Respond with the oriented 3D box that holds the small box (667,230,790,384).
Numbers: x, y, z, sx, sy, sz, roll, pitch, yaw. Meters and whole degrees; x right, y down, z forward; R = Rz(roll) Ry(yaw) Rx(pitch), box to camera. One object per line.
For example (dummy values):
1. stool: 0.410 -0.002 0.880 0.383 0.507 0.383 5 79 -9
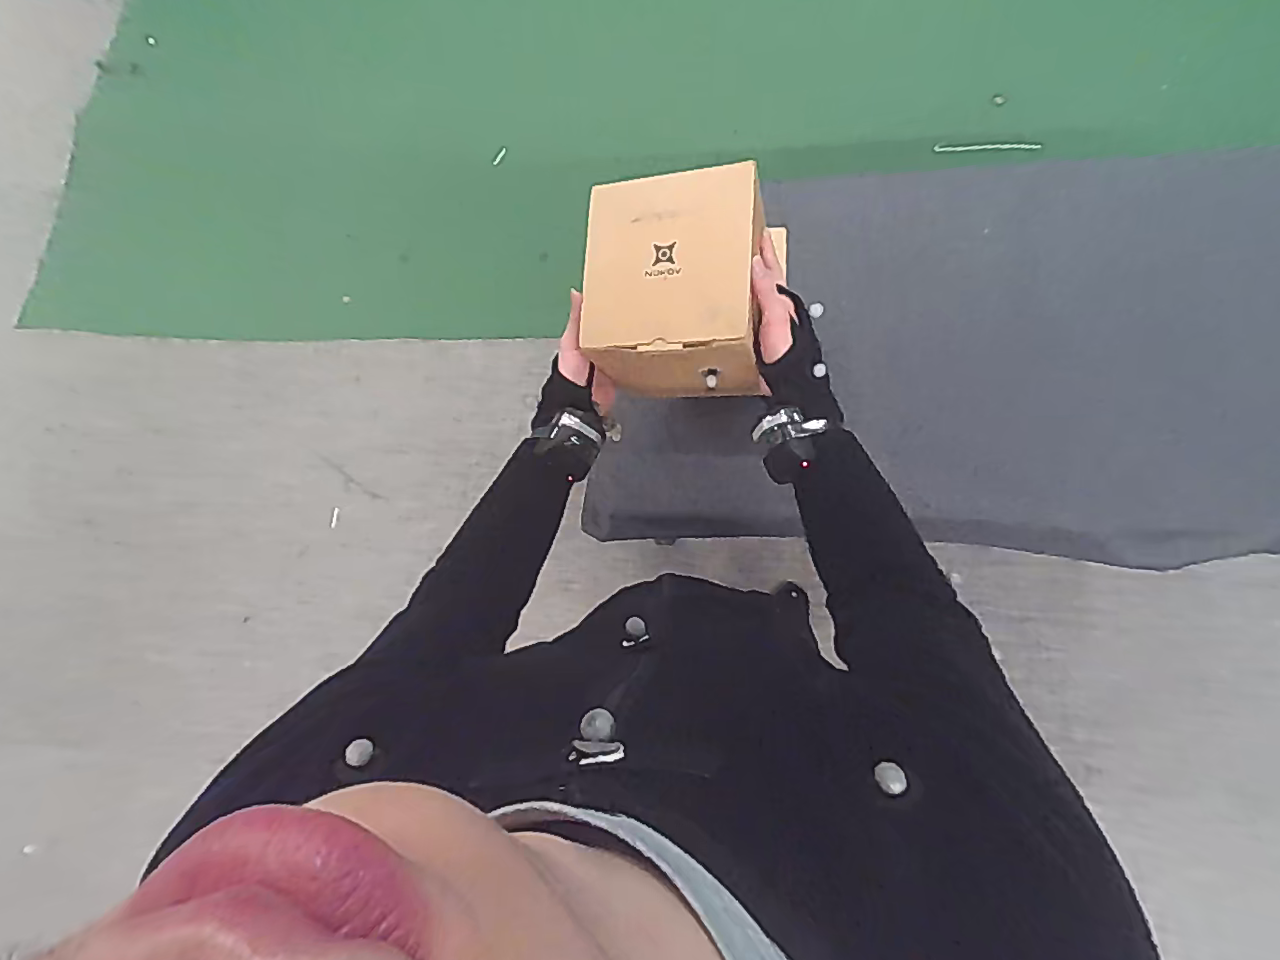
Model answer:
1. small box: 0.133 -0.257 0.837 0.168 0.176 0.179 3 79 6
